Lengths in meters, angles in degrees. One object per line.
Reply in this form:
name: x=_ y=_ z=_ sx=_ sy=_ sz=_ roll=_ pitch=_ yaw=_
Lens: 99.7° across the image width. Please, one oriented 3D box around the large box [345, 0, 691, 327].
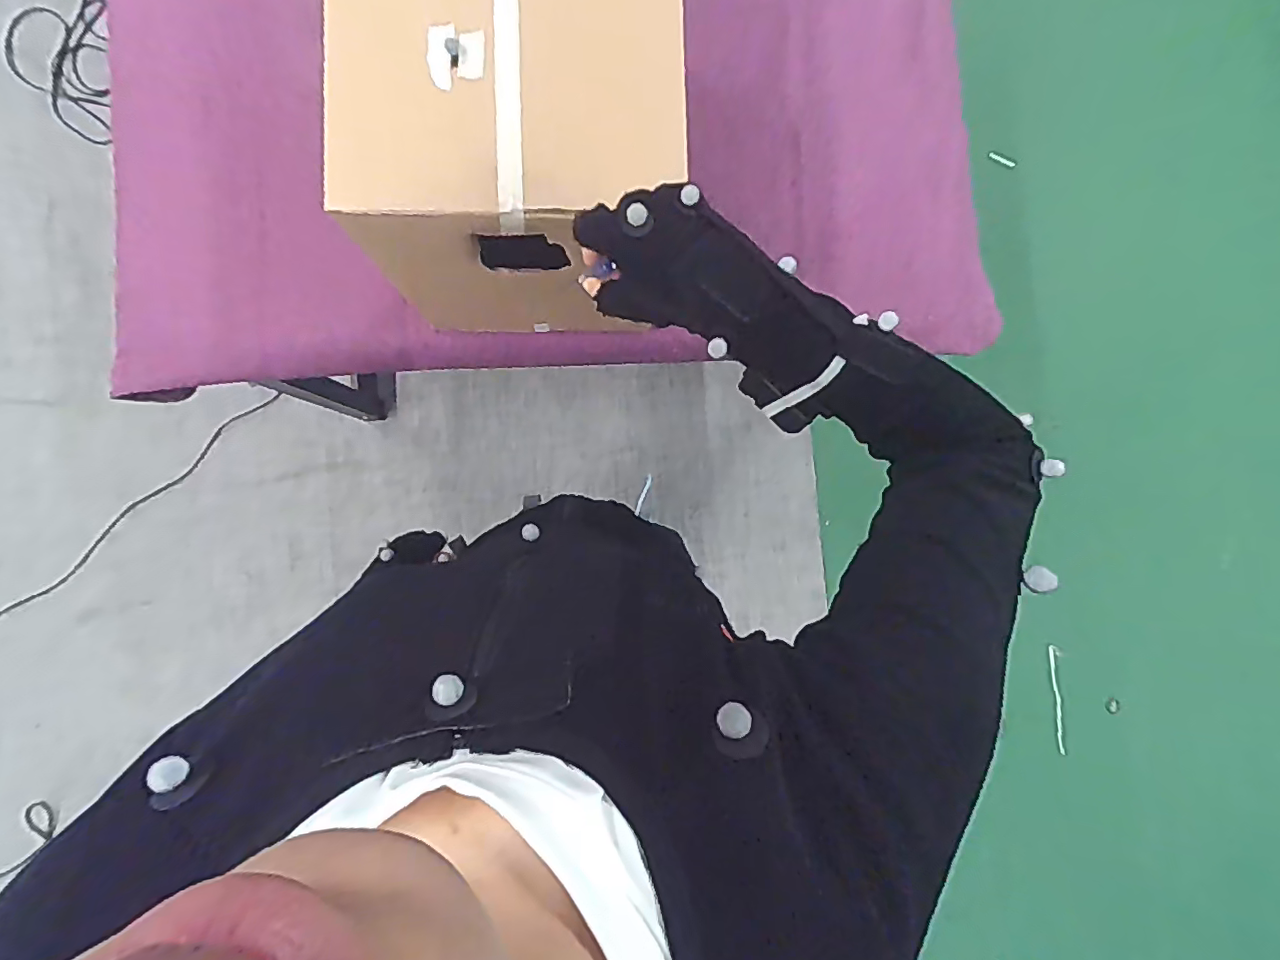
large box: x=-0.127 y=-0.427 z=0.642 sx=0.320 sy=0.320 sz=0.408 roll=-1 pitch=88 yaw=-5
